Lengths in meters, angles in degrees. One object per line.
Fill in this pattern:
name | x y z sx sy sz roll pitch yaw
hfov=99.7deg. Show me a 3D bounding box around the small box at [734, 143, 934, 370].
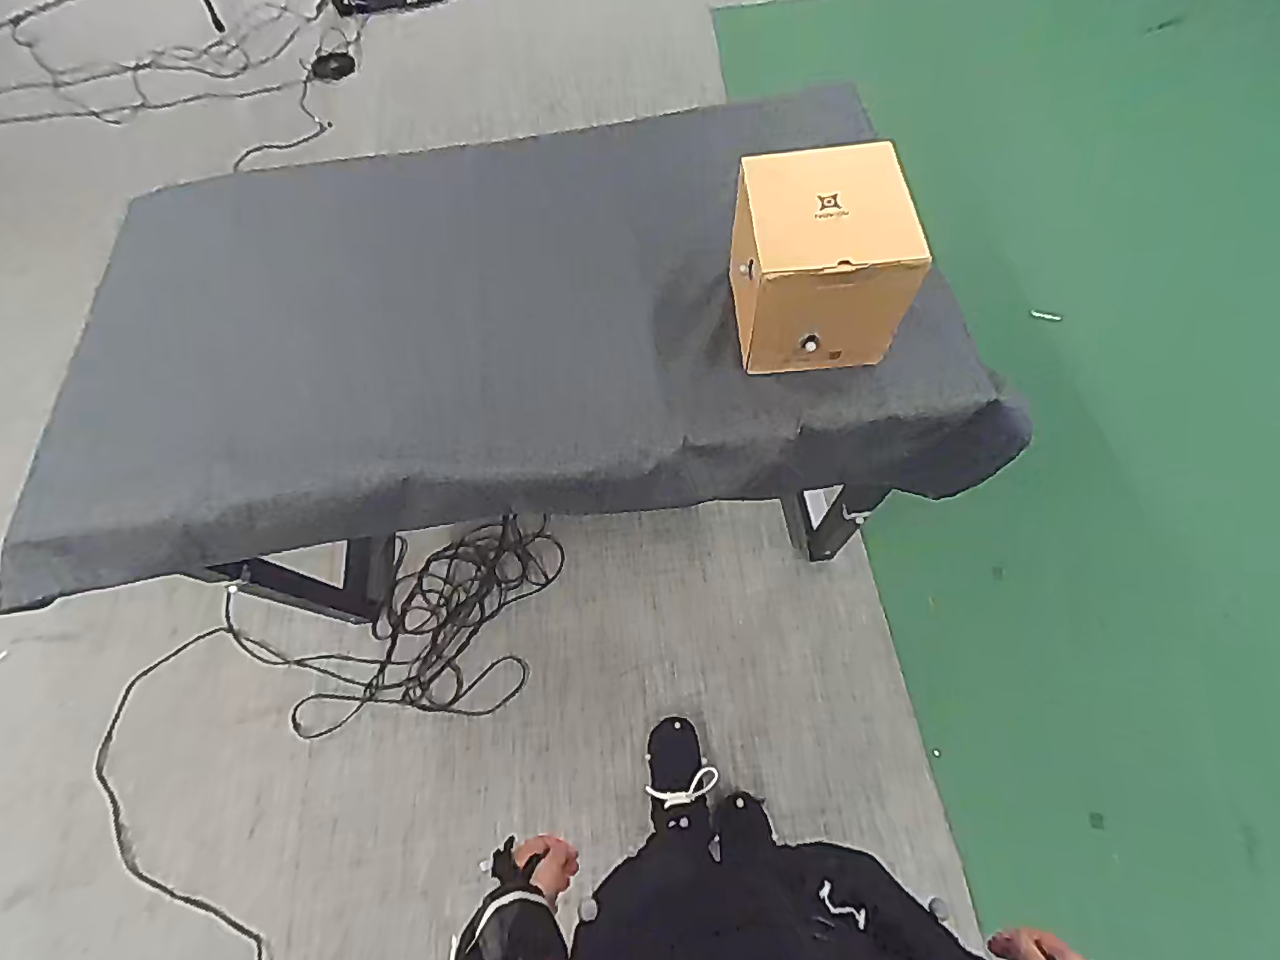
small box | 0.206 -0.252 0.632 0.168 0.176 0.179 -5 66 3
